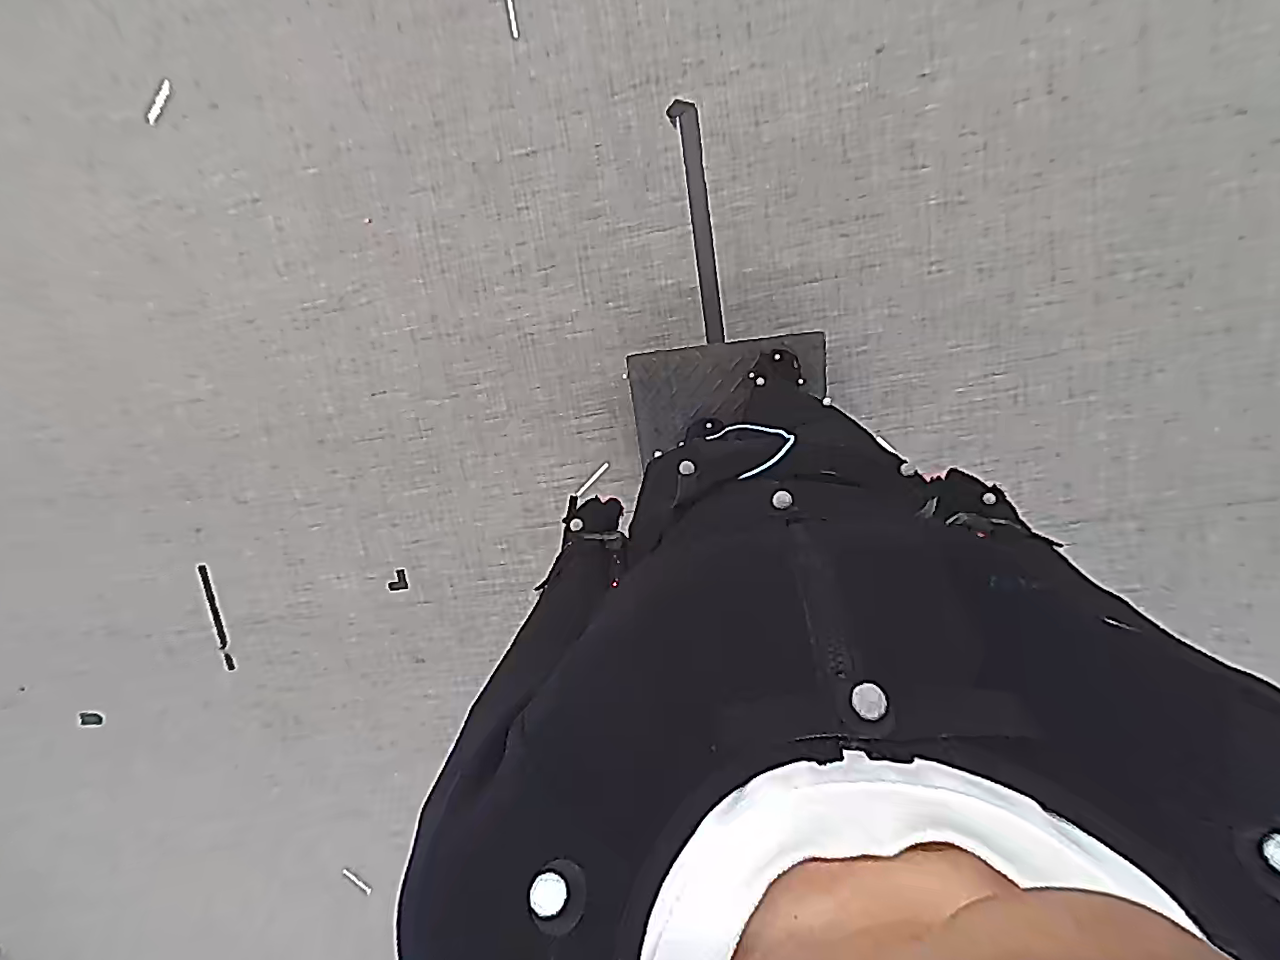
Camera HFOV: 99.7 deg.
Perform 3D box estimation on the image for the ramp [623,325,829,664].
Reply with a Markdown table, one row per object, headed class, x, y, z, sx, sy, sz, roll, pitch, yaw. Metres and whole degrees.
| class | x | y | z | sx | sy | sz | roll | pitch | yaw |
| --- | --- | --- | --- | --- | --- | --- | --- | --- | --- |
| ramp | 0.269 | 0.104 | 1.509 | 0.509 | 0.206 | 0.991 | -7 | 102 | 8 |
